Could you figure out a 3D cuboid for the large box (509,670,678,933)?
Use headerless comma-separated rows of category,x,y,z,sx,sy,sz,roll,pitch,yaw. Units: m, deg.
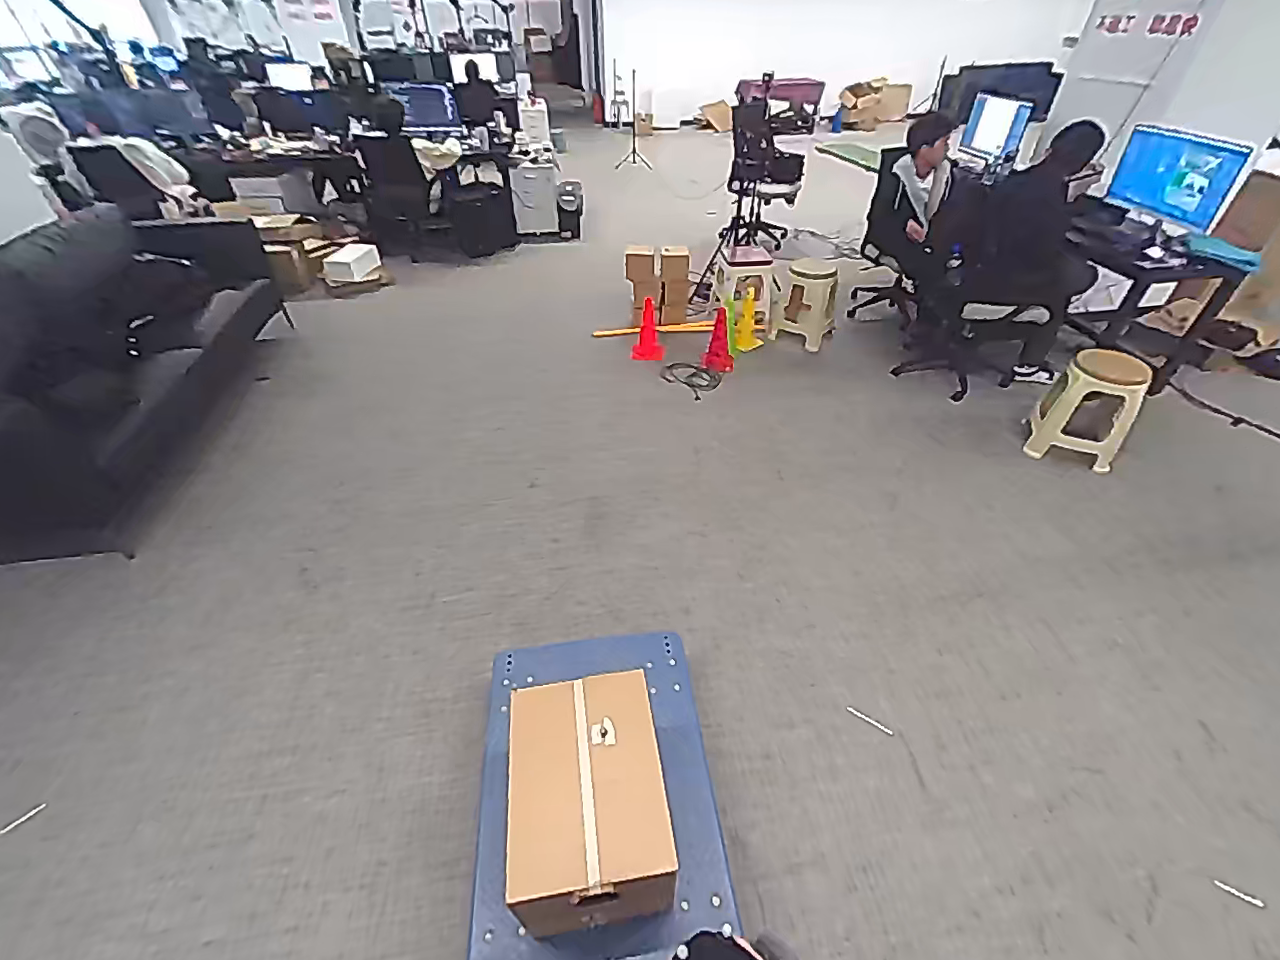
large box,-0.108,0.712,1.221,0.320,0.320,0.408,-7,41,-6
